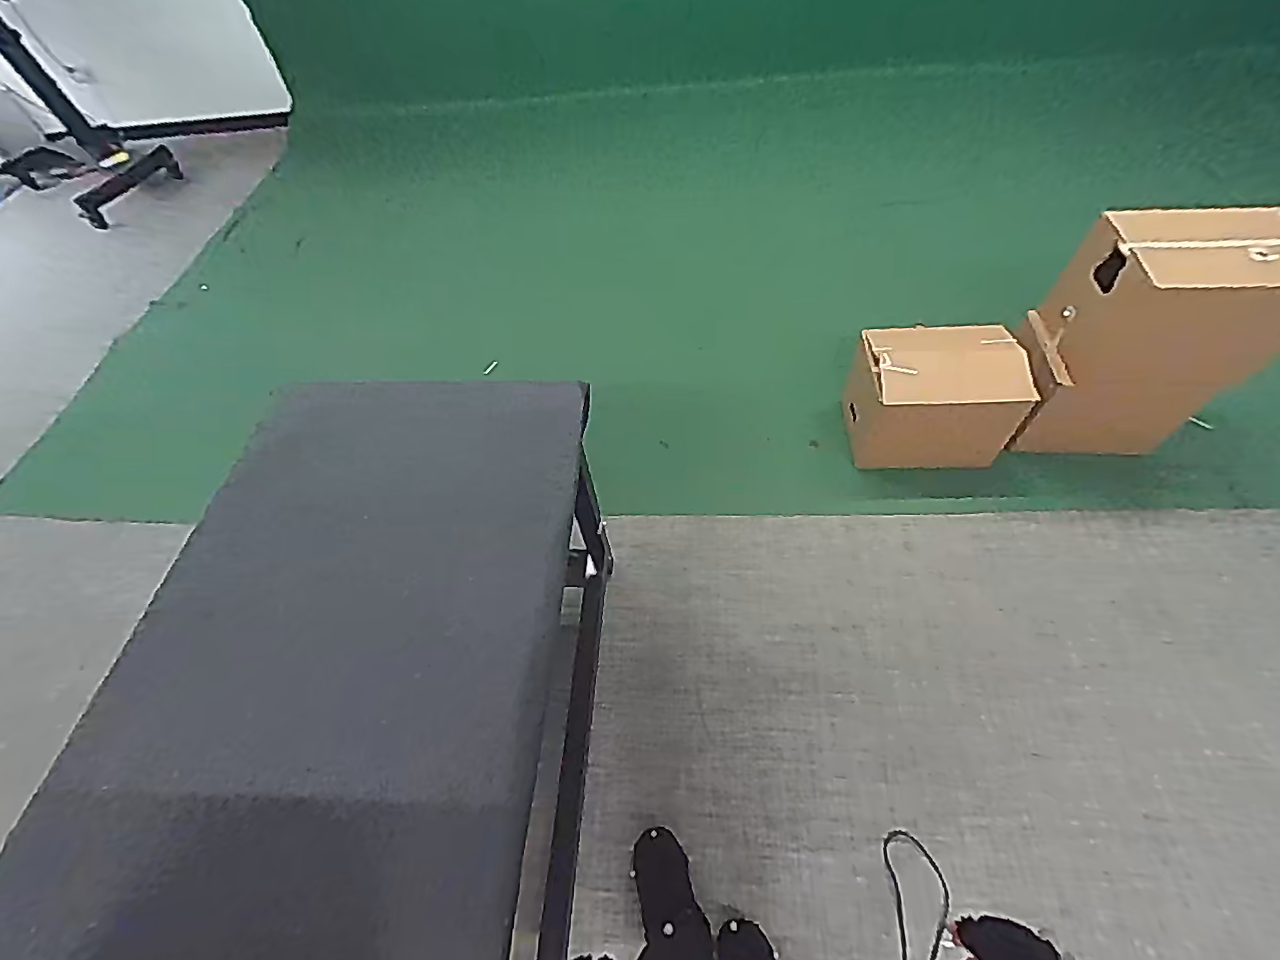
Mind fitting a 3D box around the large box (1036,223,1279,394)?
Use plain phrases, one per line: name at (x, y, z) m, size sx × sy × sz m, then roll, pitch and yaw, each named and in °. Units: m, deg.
large box at (1.363, -0.437, 1.403) m, size 0.408 × 0.320 × 0.320 m, roll 2°, pitch 56°, yaw 6°
